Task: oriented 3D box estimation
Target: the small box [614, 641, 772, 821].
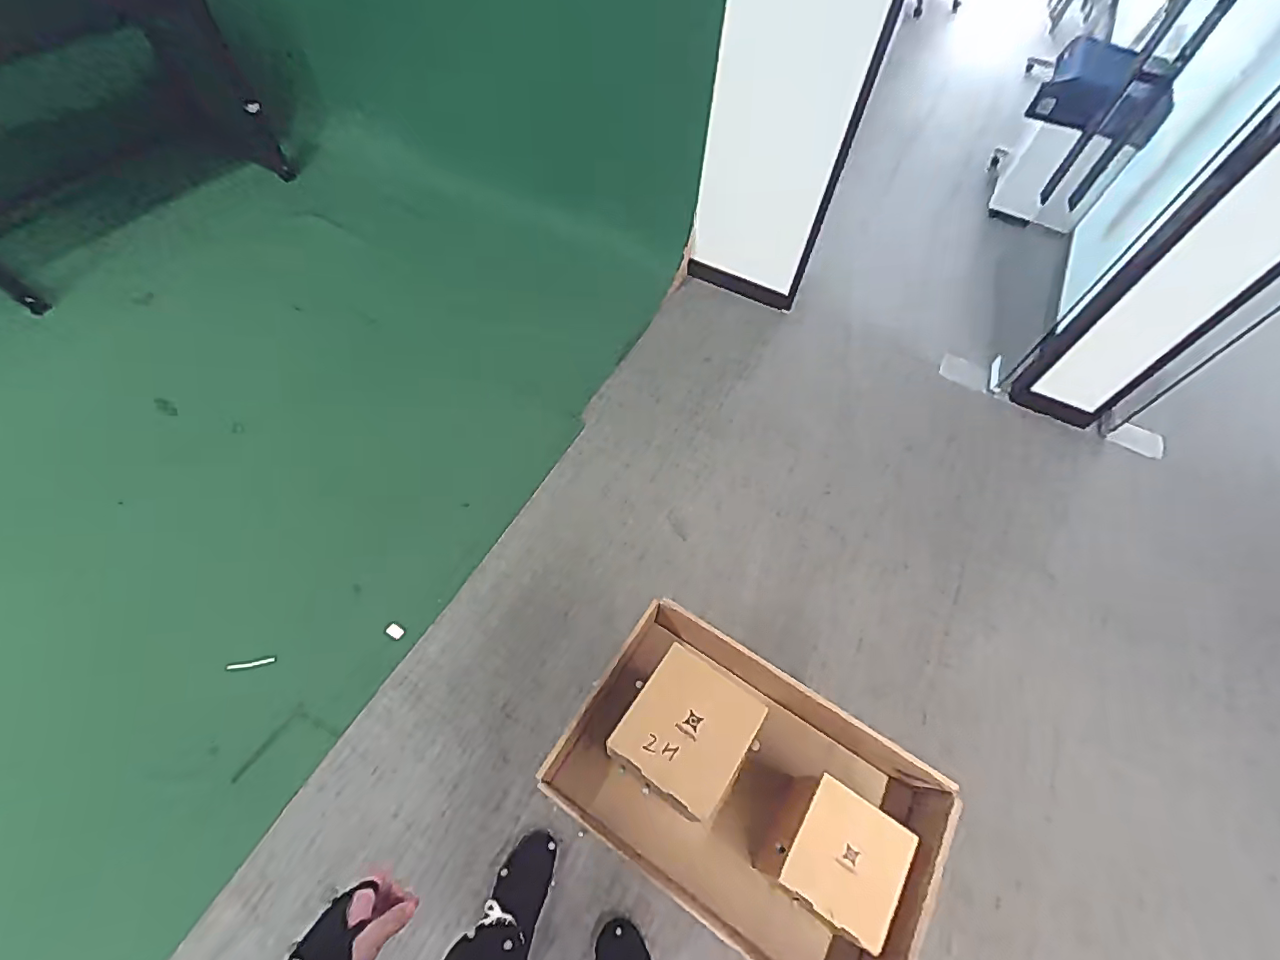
[{"bbox_3d":[0.073,0.383,0.828,0.168,0.176,0.179,32,64,17],"label":"small box"}]
